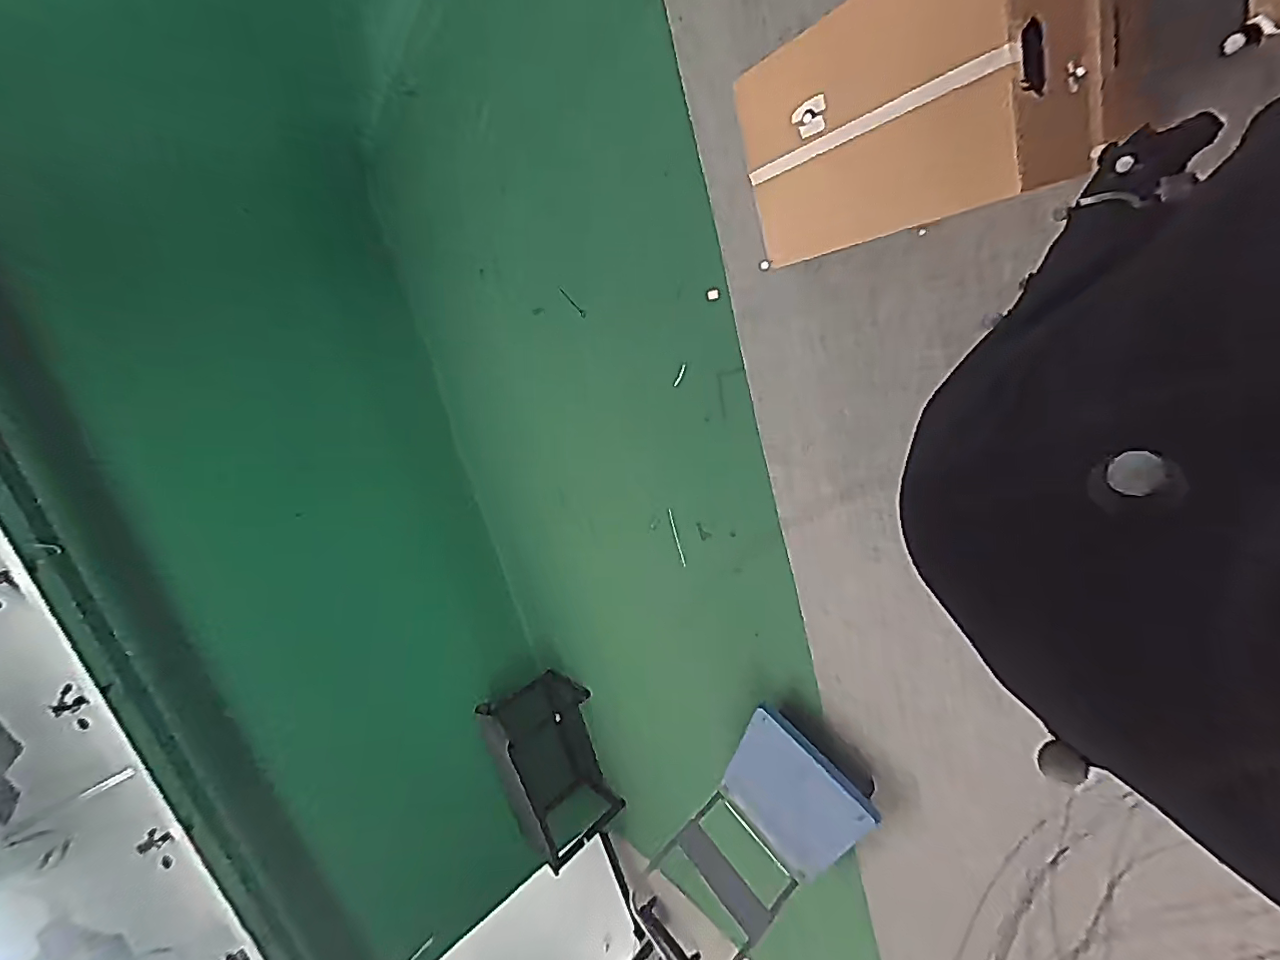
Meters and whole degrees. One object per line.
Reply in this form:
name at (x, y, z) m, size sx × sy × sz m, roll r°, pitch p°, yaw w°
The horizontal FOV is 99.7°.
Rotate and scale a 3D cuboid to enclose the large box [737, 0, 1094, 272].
large box at (0.437, -0.573, 0.879) m, size 0.408 × 0.320 × 0.320 m, roll 8°, pitch 119°, yaw 53°
